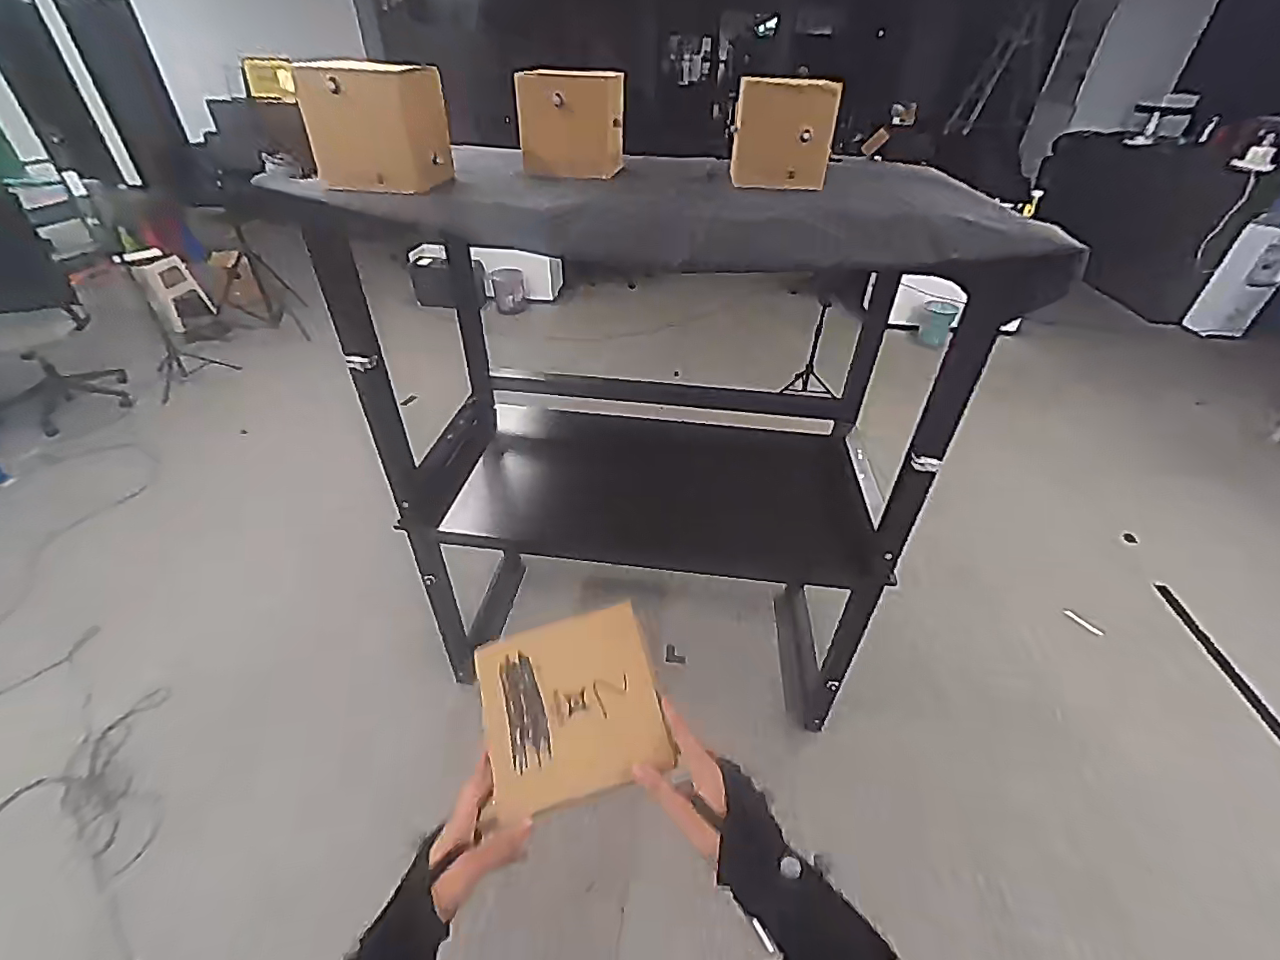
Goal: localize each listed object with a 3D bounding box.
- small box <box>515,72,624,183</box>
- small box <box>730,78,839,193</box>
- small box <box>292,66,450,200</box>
[{"bbox_3d":[-0.131,-0.700,1.074,0.179,0.176,0.168,6,39,6],"label":"small box"},{"bbox_3d":[0.267,-0.662,1.038,0.168,0.176,0.179,5,39,3],"label":"small box"},{"bbox_3d":[-0.434,-0.586,0.912,0.168,0.176,0.179,4,38,3],"label":"small box"}]
